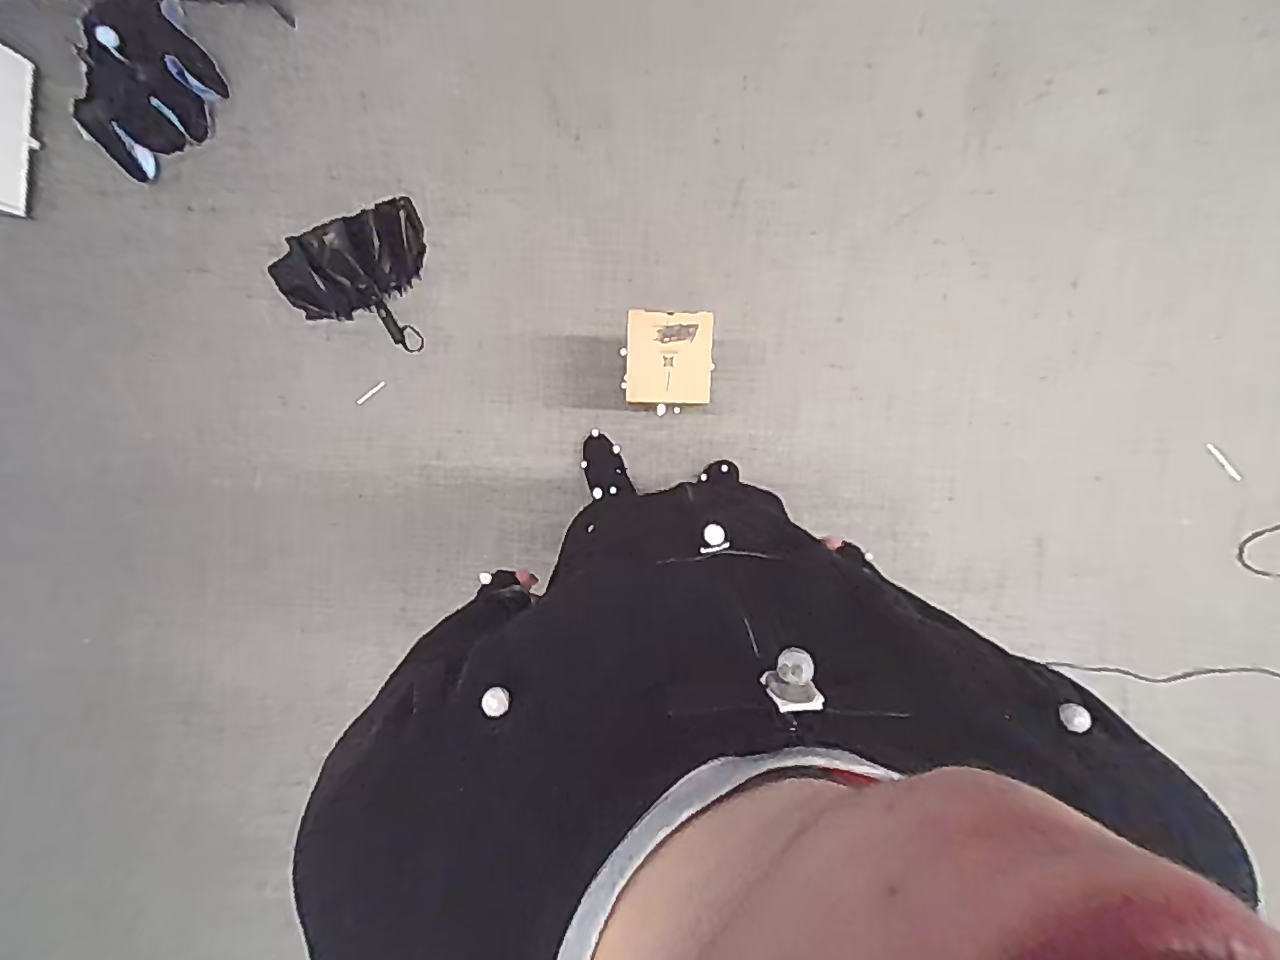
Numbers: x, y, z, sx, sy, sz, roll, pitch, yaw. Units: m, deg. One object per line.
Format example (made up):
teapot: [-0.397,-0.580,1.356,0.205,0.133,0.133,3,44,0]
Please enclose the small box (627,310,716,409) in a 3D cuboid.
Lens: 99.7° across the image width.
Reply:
small box: [0.058,-0.238,1.105,0.168,0.176,0.179,2,96,0]
